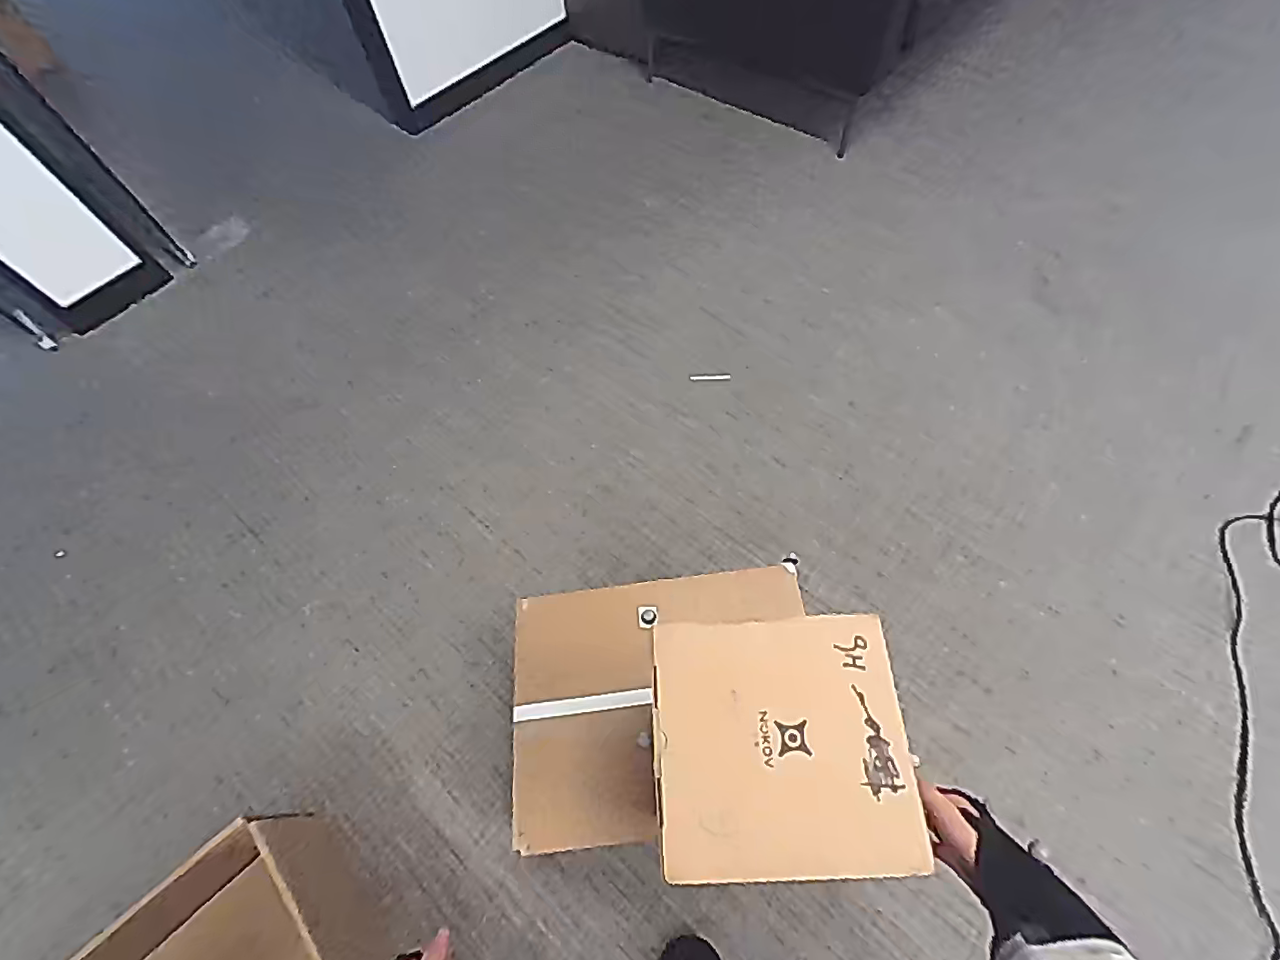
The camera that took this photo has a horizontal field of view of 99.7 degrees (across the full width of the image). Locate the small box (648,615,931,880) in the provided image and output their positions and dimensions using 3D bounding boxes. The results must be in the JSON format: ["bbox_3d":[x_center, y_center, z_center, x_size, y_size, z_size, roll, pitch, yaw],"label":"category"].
[{"bbox_3d":[0.101,0.213,0.447,0.179,0.176,0.168,-3,65,3],"label":"small box"}]
